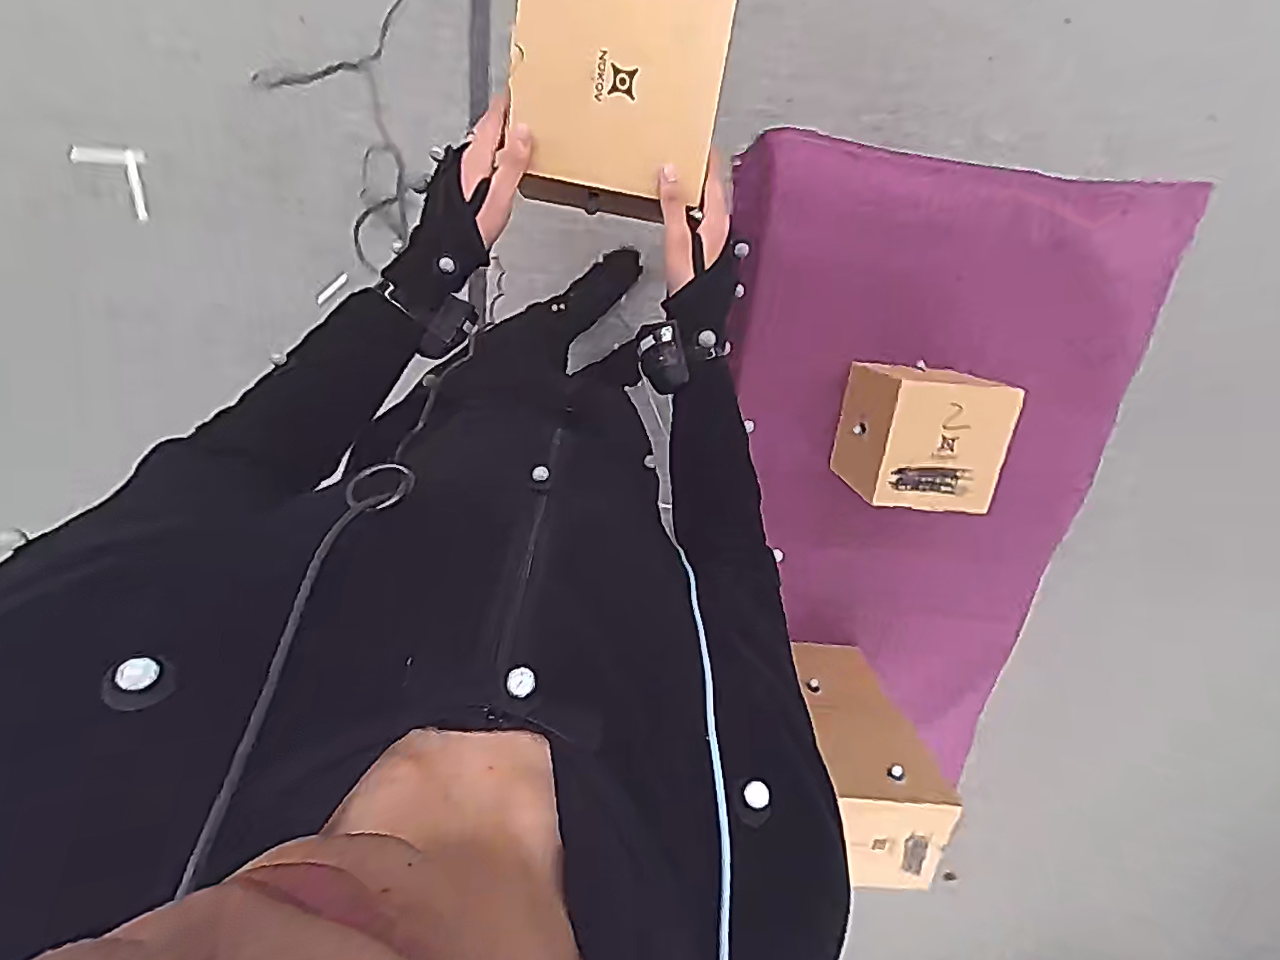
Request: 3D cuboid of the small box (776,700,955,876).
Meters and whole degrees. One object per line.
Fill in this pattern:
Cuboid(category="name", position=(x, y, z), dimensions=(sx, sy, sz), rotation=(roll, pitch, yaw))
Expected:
Cuboid(category="small box", position=(0.327, 0.460, 0.823), dimensions=(0.179, 0.176, 0.168), rotation=(6, 110, -3))

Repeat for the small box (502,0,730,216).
Cuboid(category="small box", position=(-0.030, -0.361, 0.524), dimensions=(0.179, 0.176, 0.168), rotation=(6, 110, -7))
